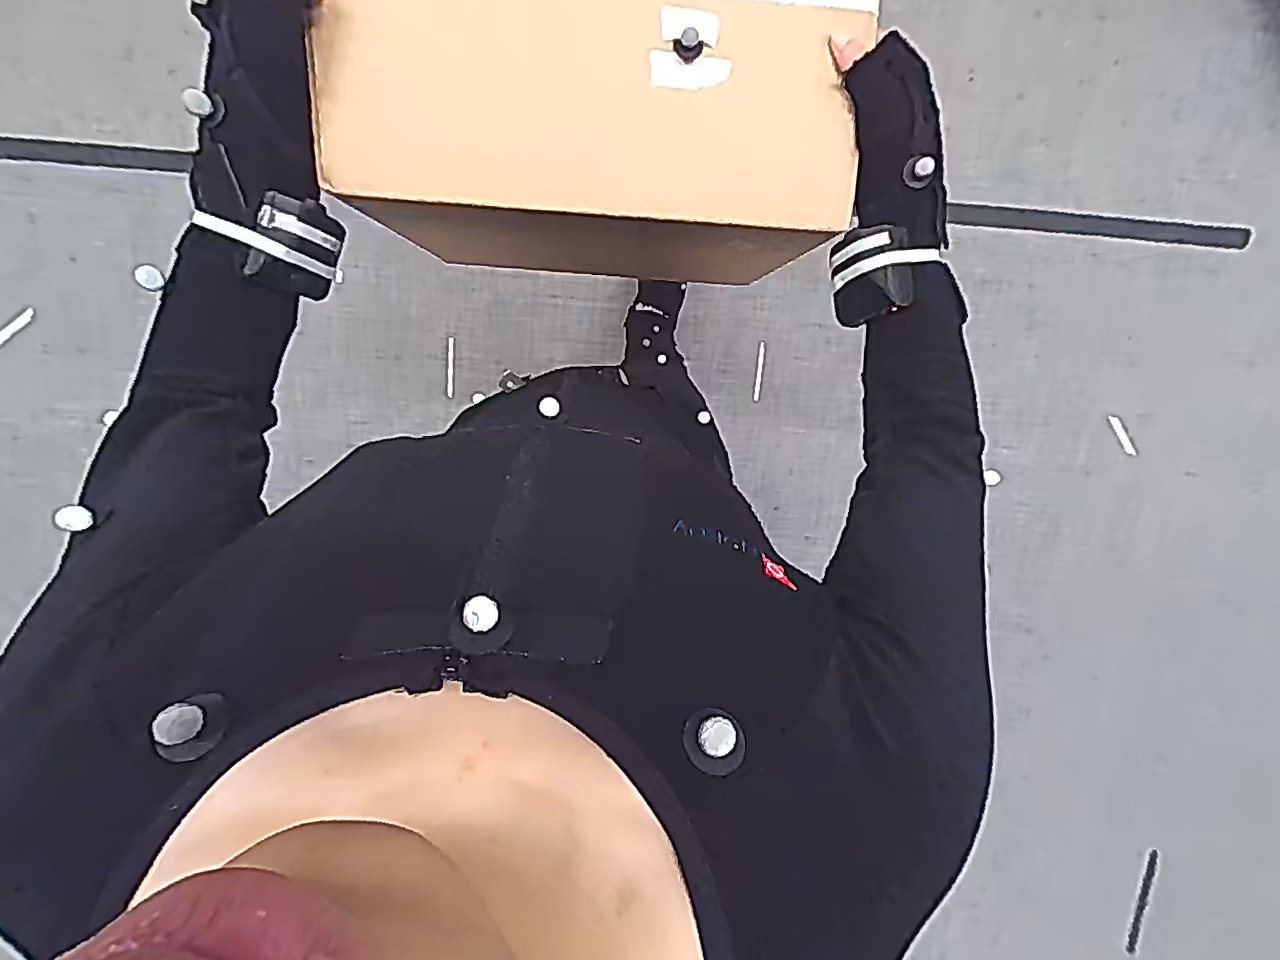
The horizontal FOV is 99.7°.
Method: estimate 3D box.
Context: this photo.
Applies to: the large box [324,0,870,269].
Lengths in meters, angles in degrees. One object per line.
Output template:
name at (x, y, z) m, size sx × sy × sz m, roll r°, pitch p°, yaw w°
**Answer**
large box at (-0.035, -0.404, 0.534) m, size 0.408 × 0.320 × 0.320 m, roll 2°, pitch 103°, yaw -4°
